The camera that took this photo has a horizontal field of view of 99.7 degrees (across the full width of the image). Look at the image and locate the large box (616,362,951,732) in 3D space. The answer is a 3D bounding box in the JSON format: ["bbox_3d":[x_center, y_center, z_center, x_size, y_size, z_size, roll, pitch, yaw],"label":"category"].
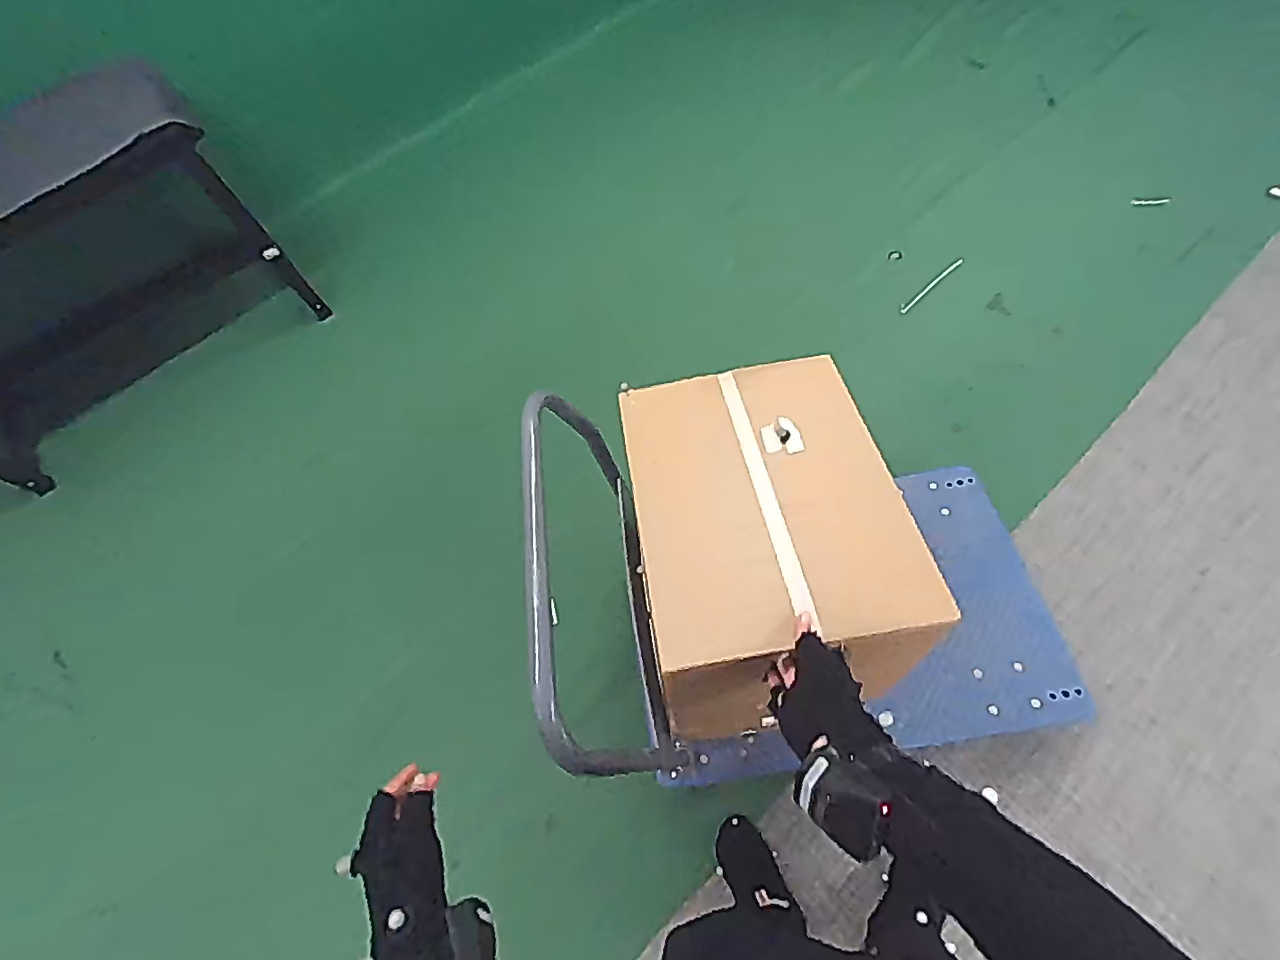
[{"bbox_3d":[0.161,0.098,0.785,0.320,0.320,0.408,-10,53,0],"label":"large box"}]
